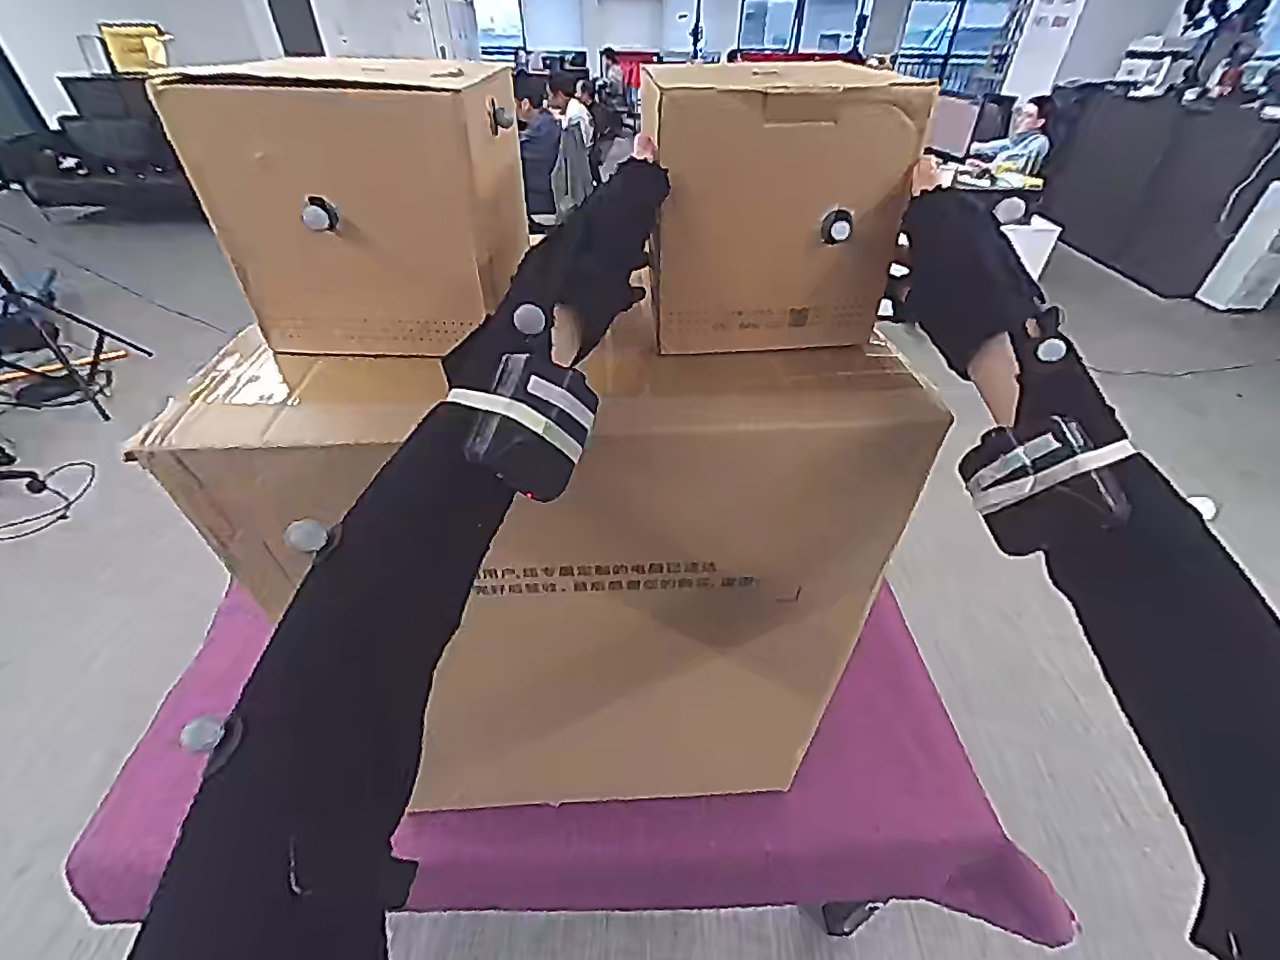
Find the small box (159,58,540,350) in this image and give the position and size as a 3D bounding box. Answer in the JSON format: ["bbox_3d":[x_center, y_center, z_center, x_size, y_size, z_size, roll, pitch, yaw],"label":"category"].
[{"bbox_3d":[-0.182,-0.210,0.410,0.179,0.176,0.168,0,41,-1],"label":"small box"}]

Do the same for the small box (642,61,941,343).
[{"bbox_3d":[0.089,-0.216,0.421,0.168,0.176,0.179,-2,39,-4],"label":"small box"}]
